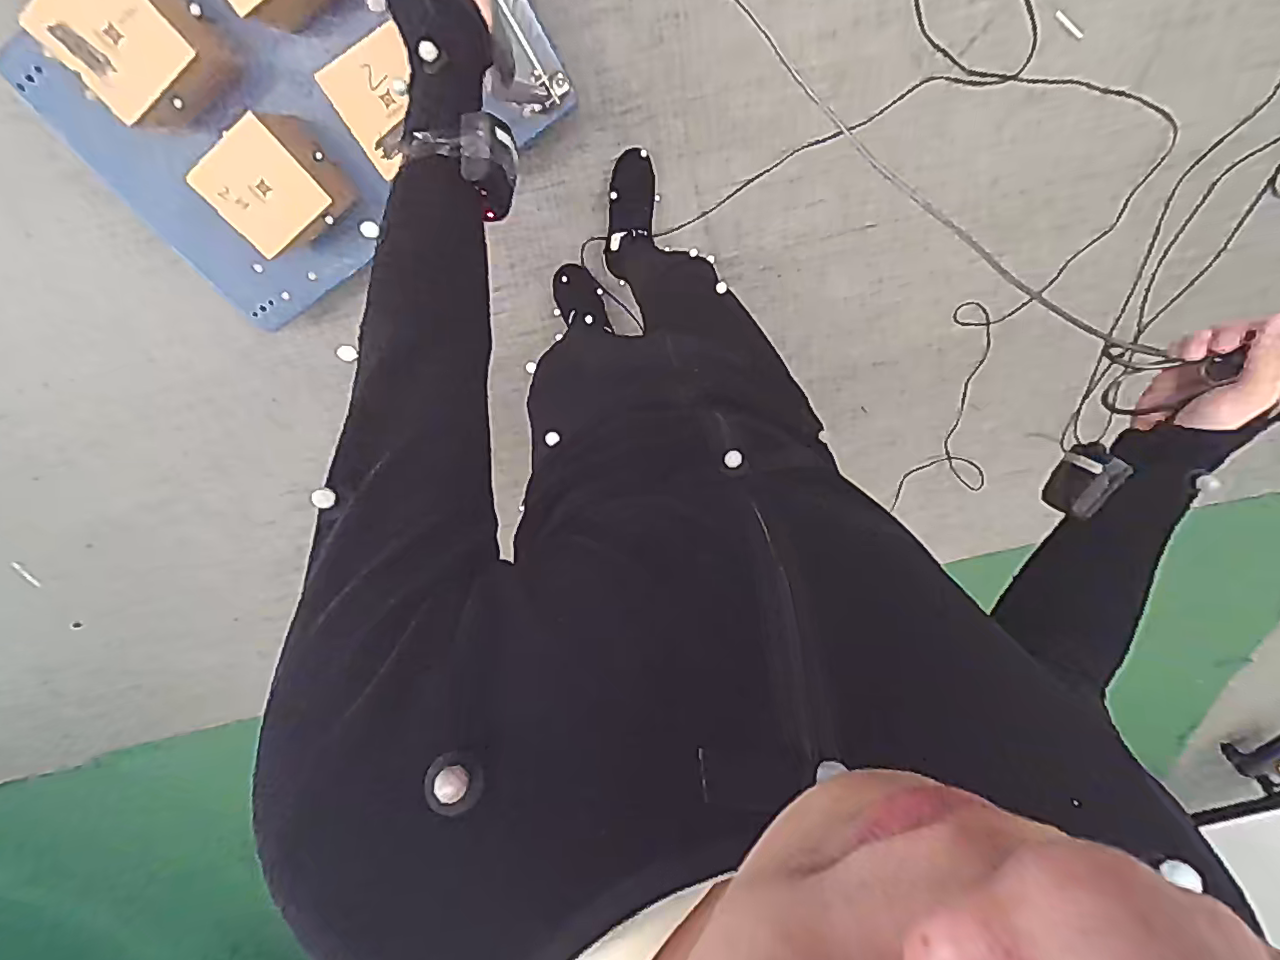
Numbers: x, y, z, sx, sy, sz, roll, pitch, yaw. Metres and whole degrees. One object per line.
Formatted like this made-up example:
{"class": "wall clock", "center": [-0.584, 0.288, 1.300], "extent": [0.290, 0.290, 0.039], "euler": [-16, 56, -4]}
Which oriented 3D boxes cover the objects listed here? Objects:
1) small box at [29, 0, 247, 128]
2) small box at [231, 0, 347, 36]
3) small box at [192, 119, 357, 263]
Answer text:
{"class": "small box", "center": [-0.807, -0.712, 0.893], "extent": [0.179, 0.176, 0.168], "euler": [-32, 121, 12]}
{"class": "small box", "center": [-0.573, -0.840, 0.844], "extent": [0.179, 0.176, 0.168], "euler": [-28, 121, 10]}
{"class": "small box", "center": [-0.667, -0.543, 1.017], "extent": [0.179, 0.176, 0.168], "euler": [-32, 119, 12]}
